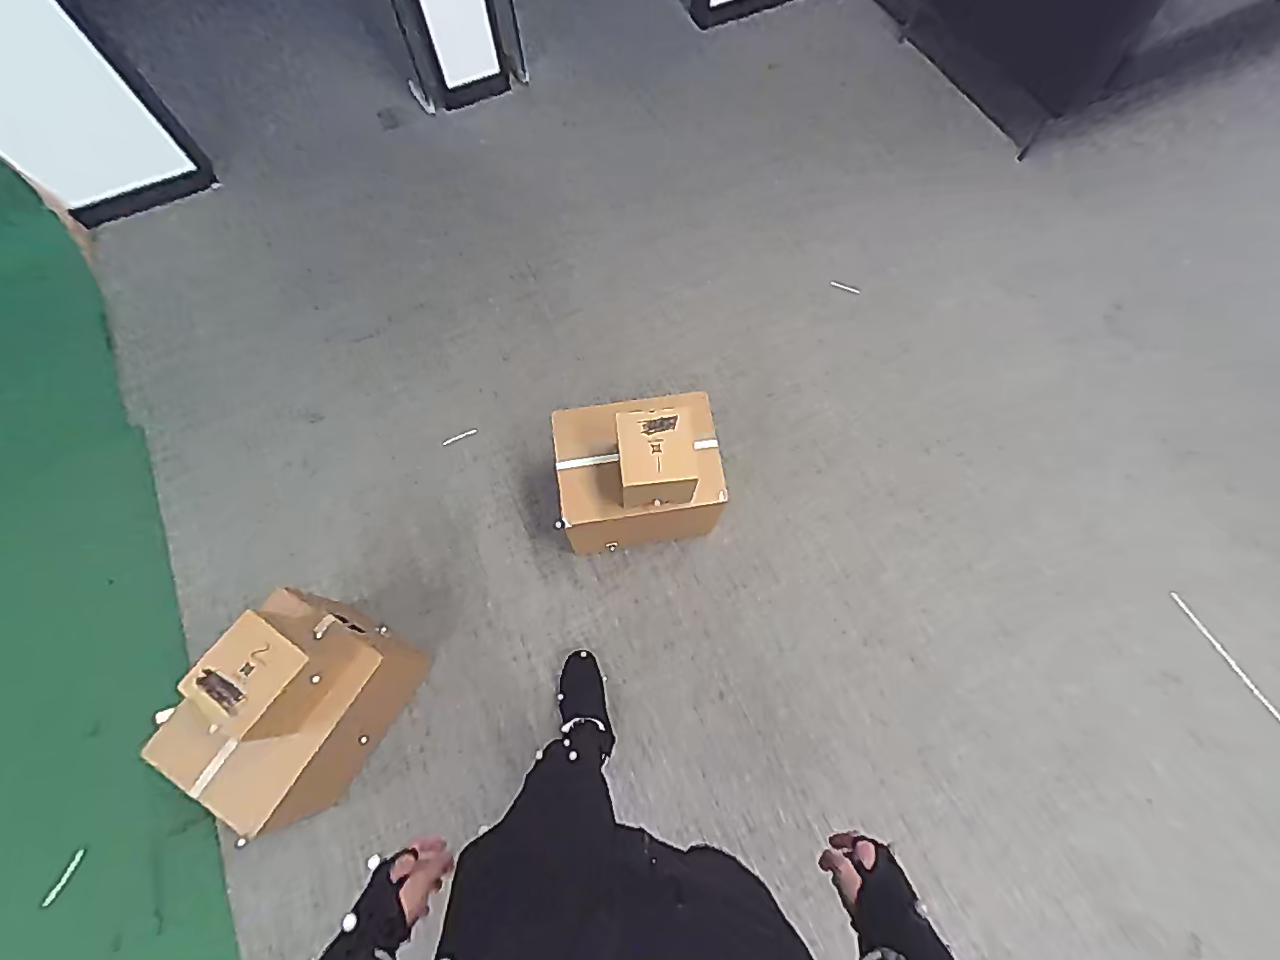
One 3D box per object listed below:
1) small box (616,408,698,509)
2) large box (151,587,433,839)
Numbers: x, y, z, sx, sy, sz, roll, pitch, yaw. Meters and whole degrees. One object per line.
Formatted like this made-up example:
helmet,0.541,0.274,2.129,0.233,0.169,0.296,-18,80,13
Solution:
small box,0.033,-0.046,1.239,0.168,0.176,0.179,-6,71,-3
large box,-0.776,0.515,1.276,0.320,0.320,0.408,30,75,11
